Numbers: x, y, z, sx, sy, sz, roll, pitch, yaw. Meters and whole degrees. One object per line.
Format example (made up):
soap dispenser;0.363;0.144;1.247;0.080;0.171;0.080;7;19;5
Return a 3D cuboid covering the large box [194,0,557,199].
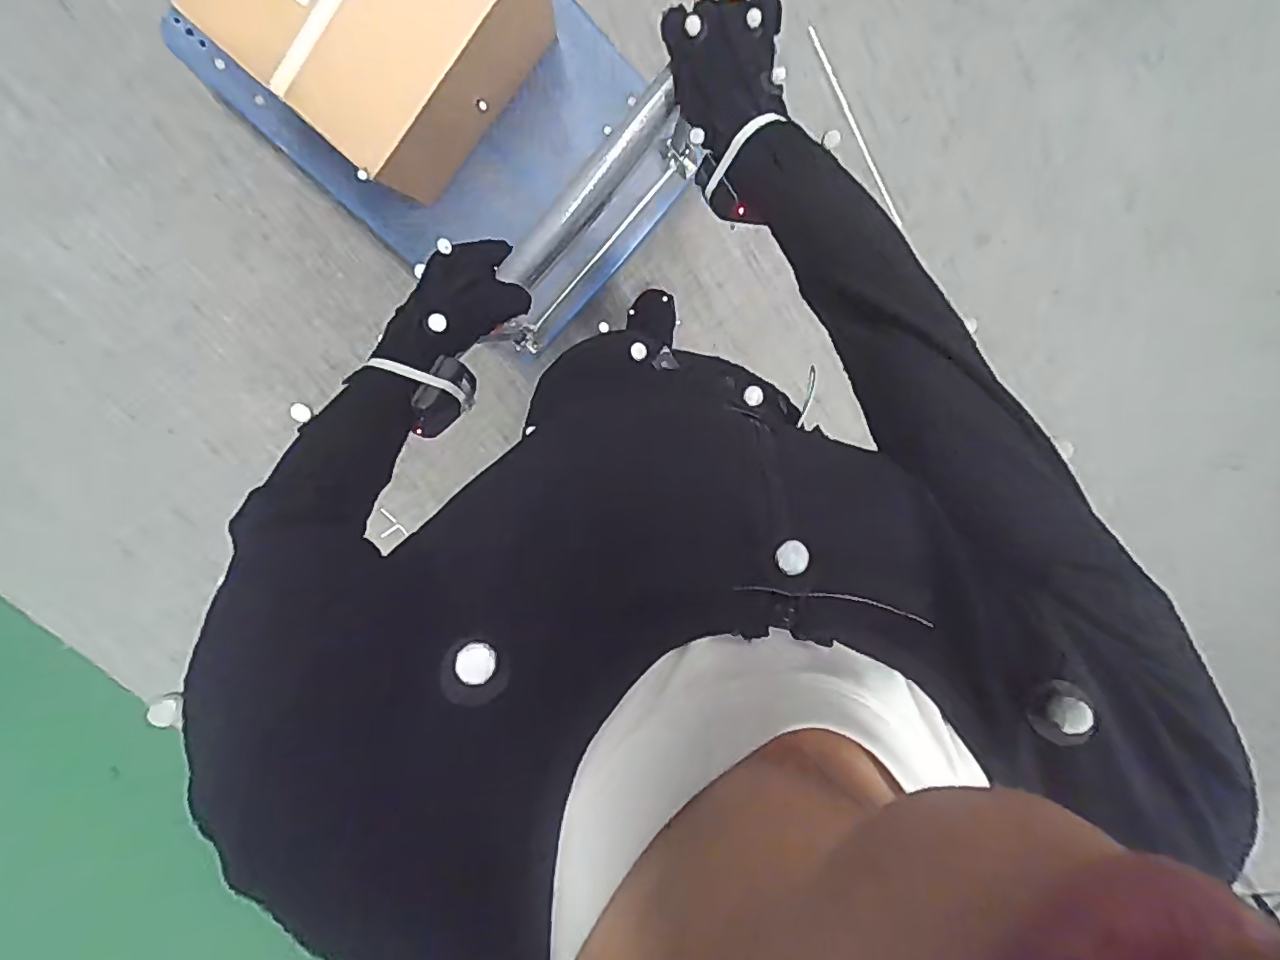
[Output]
large box;-0.379;-0.747;0.875;0.320;0.320;0.408;39;103;-16
